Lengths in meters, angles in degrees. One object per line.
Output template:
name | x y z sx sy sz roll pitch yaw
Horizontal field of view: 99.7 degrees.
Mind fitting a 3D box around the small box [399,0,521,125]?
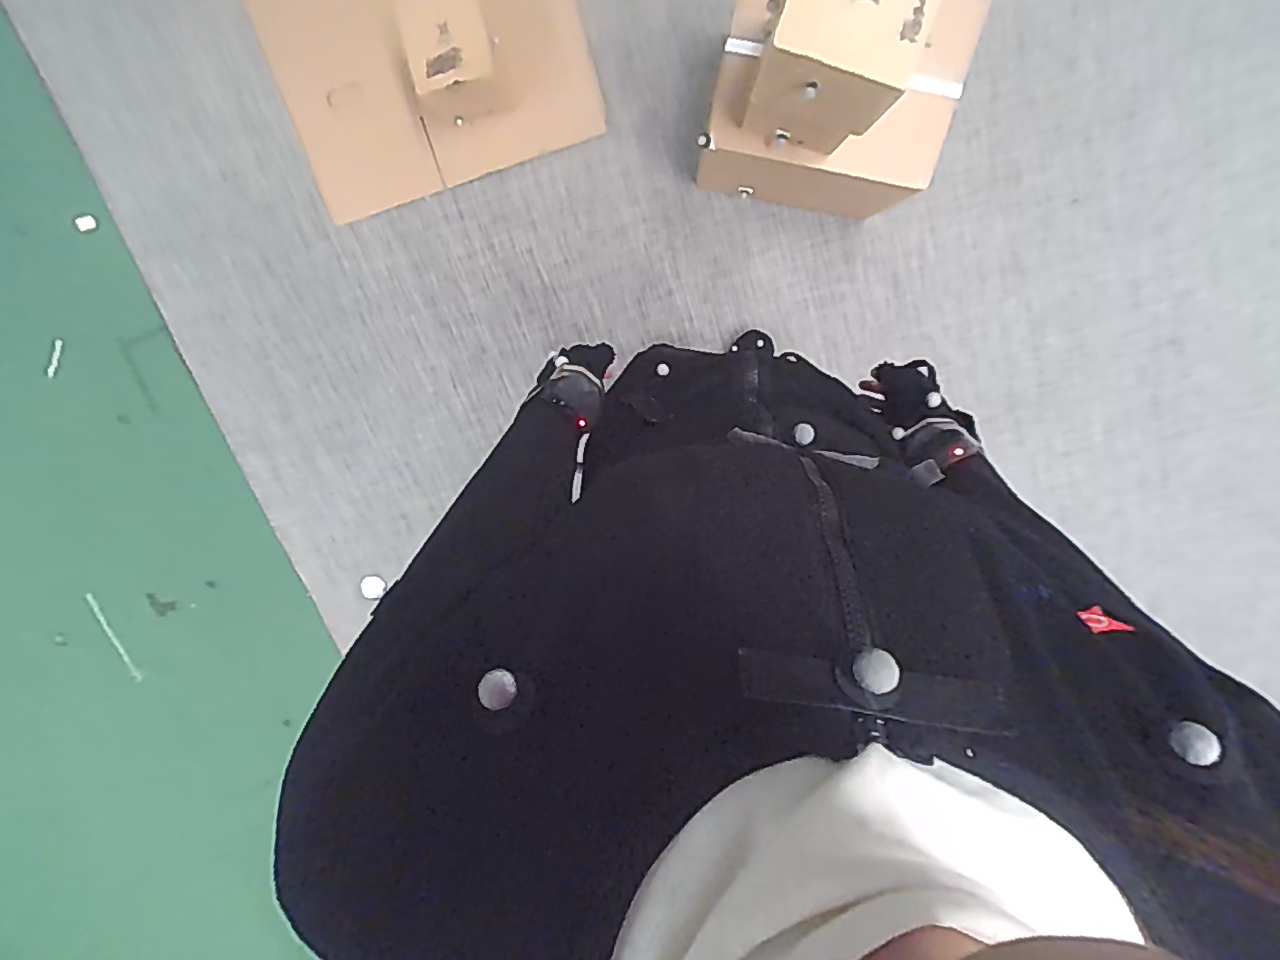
small box | -0.363 -0.871 1.126 0.168 0.176 0.179 -9 103 6

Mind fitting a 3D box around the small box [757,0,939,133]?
small box | 0.263 -0.584 0.701 0.179 0.176 0.168 15 104 -1

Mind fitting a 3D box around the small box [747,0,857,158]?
small box | 0.274 -0.642 0.852 0.168 0.176 0.179 14 108 0
